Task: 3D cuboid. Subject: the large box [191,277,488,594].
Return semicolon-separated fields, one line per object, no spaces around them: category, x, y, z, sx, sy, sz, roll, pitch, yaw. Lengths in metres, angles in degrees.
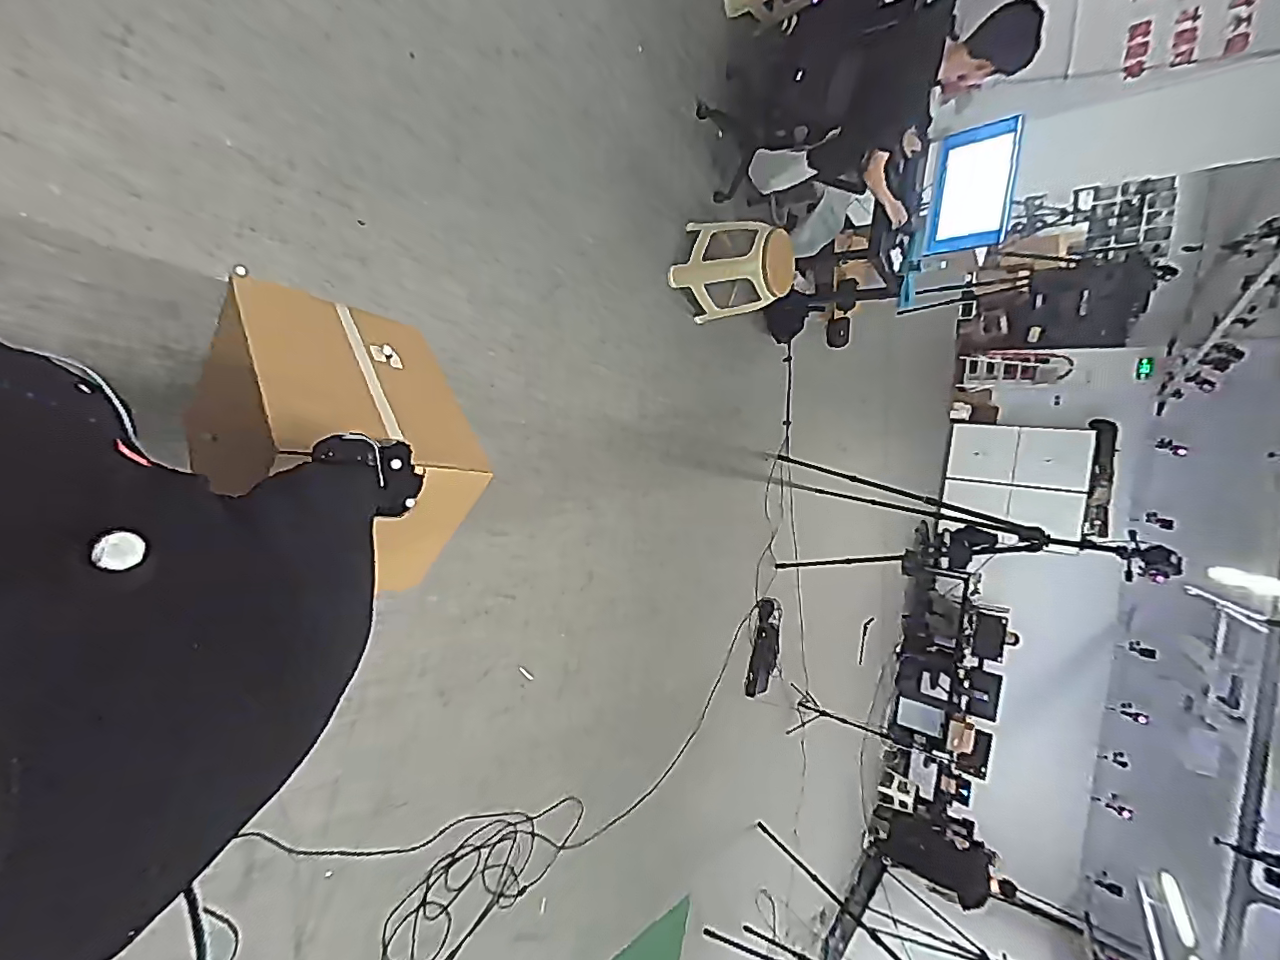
large box;-0.533;-0.066;0.935;0.320;0.408;0.320;7;130;-51
